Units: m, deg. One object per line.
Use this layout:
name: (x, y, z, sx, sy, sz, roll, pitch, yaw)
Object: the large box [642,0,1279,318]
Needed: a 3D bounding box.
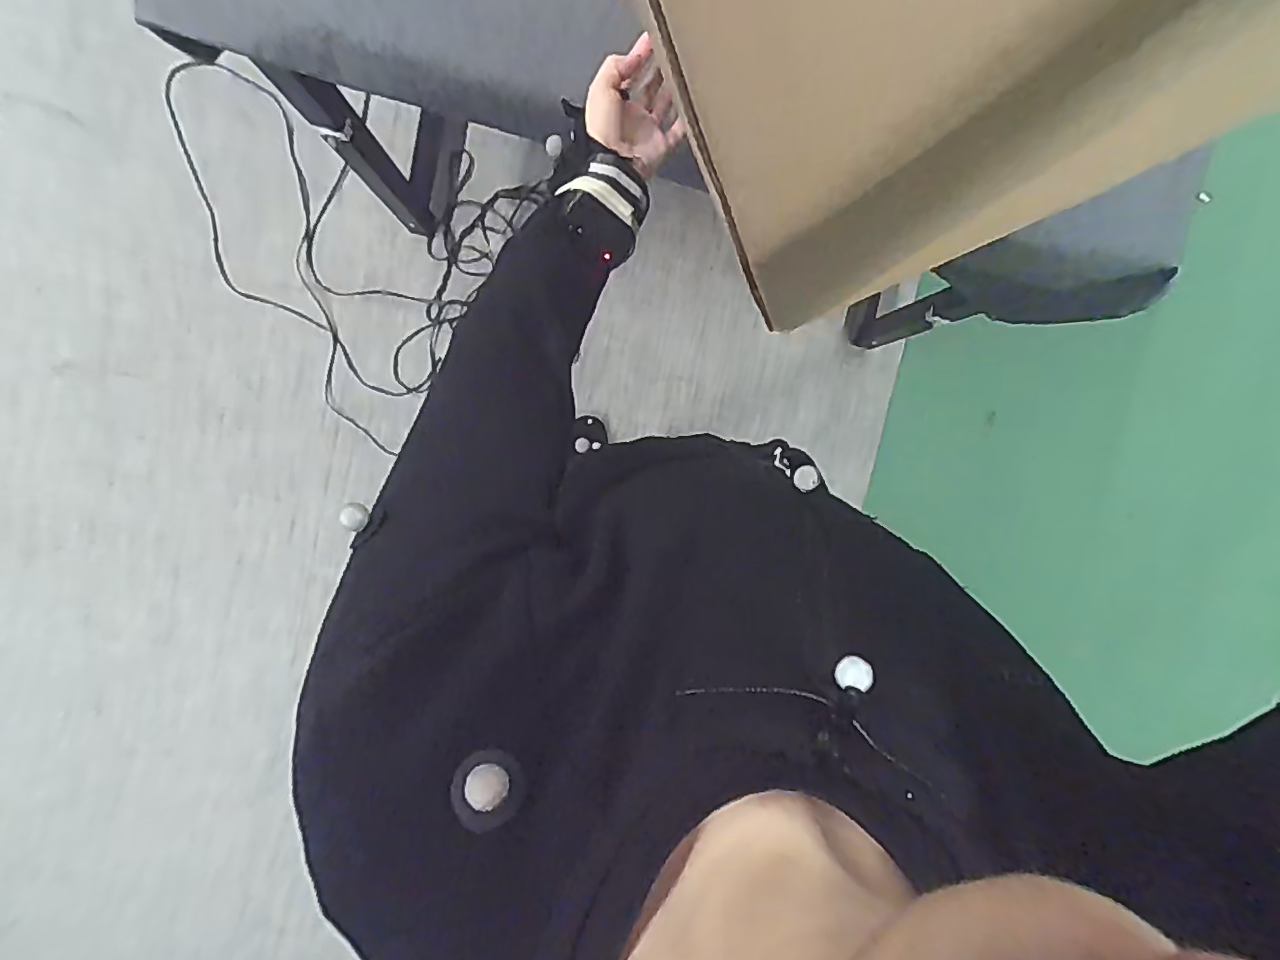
large box: (0.181, -0.347, 0.243, 0.408, 0.320, 0.320, -24, 73, 18)
